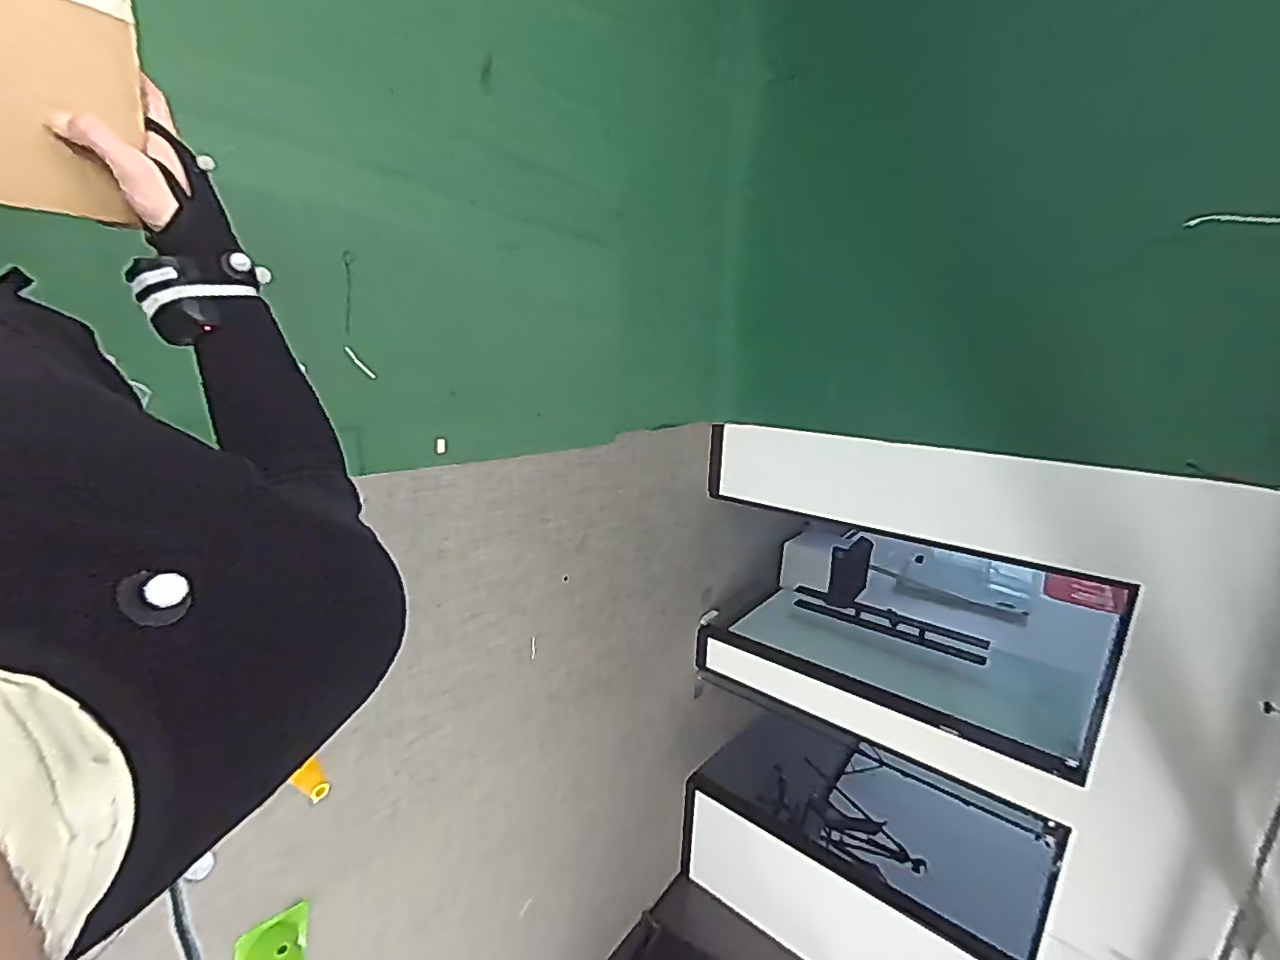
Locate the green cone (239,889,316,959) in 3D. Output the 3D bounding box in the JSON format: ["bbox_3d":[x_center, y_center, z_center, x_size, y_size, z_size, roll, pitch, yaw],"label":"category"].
[{"bbox_3d":[-1.032,1.482,1.634,0.200,0.368,0.202,-5,103,-53],"label":"green cone"}]
